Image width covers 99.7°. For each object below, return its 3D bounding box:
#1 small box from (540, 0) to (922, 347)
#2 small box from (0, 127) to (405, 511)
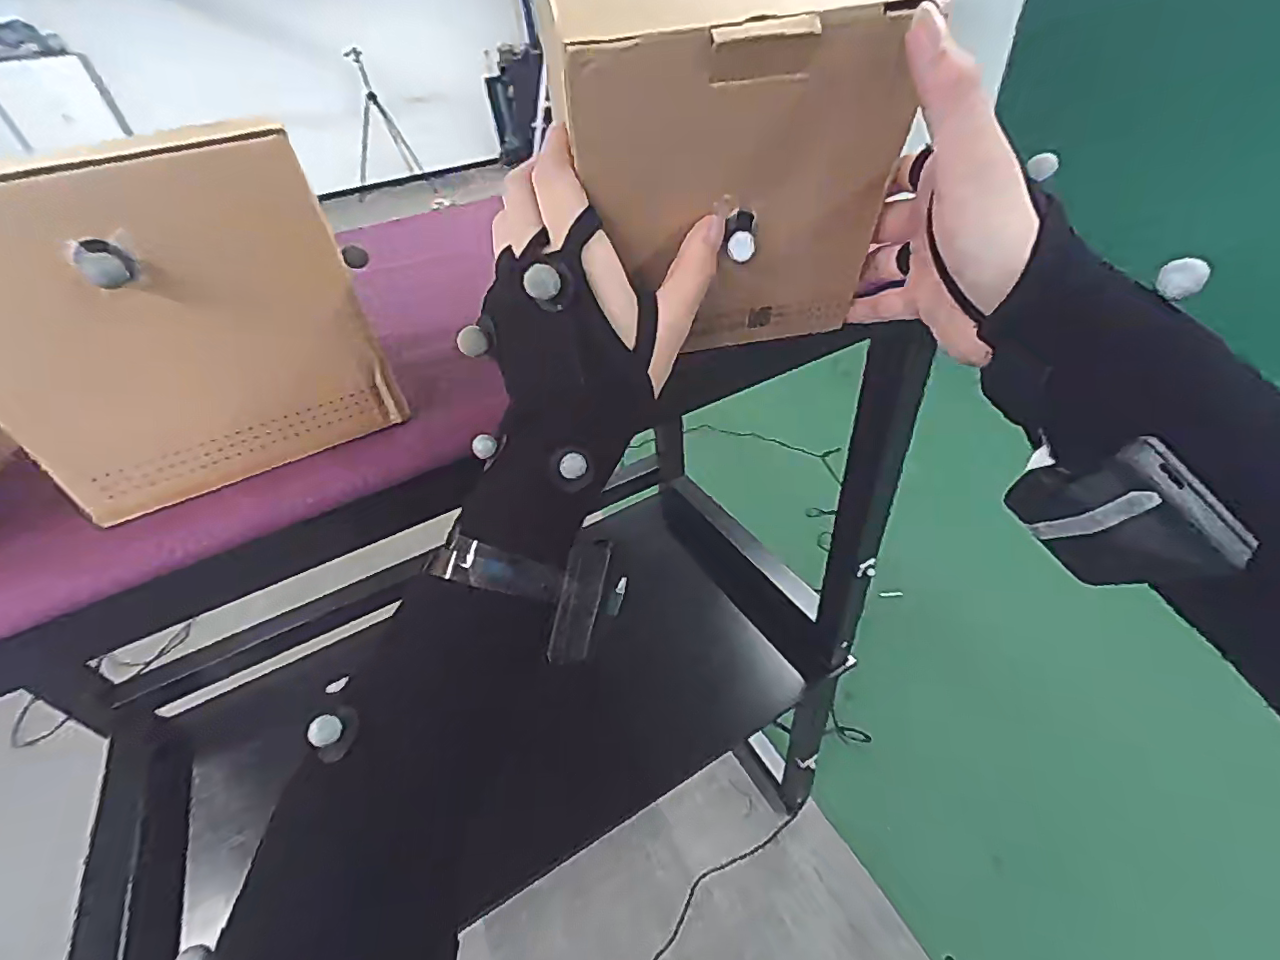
[{"bbox_3d":[0.036,-0.202,0.345,0.168,0.176,0.179,-9,55,-4],"label":"small box"},{"bbox_3d":[-0.273,-0.112,0.351,0.179,0.176,0.168,-25,42,-19],"label":"small box"}]
